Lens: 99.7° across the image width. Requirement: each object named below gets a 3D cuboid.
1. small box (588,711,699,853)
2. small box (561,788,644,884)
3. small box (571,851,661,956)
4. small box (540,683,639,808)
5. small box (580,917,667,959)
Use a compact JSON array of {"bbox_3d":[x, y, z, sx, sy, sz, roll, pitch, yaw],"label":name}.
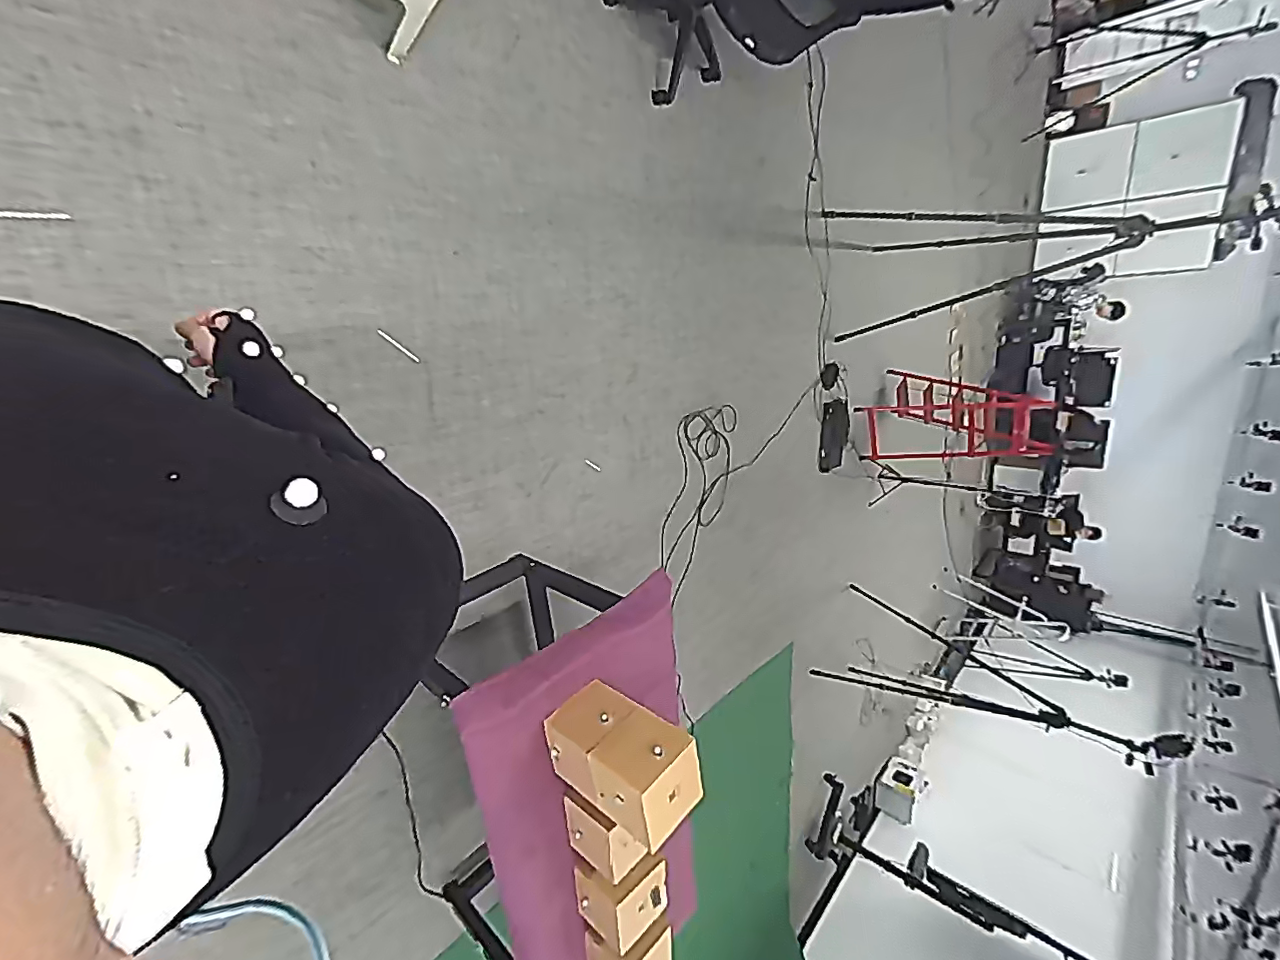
[{"bbox_3d":[0.003,0.645,1.178,0.179,0.176,0.168,-26,116,-41],"label":"small box"},{"bbox_3d":[-0.077,0.854,1.376,0.179,0.176,0.168,-20,112,-43],"label":"small box"},{"bbox_3d":[-0.063,1.080,1.439,0.179,0.176,0.168,-17,110,-43],"label":"small box"},{"bbox_3d":[-0.110,0.621,1.291,0.179,0.176,0.168,-26,116,-40],"label":"small box"},{"bbox_3d":[-0.044,1.314,1.510,0.179,0.176,0.168,-19,111,-44],"label":"small box"}]
